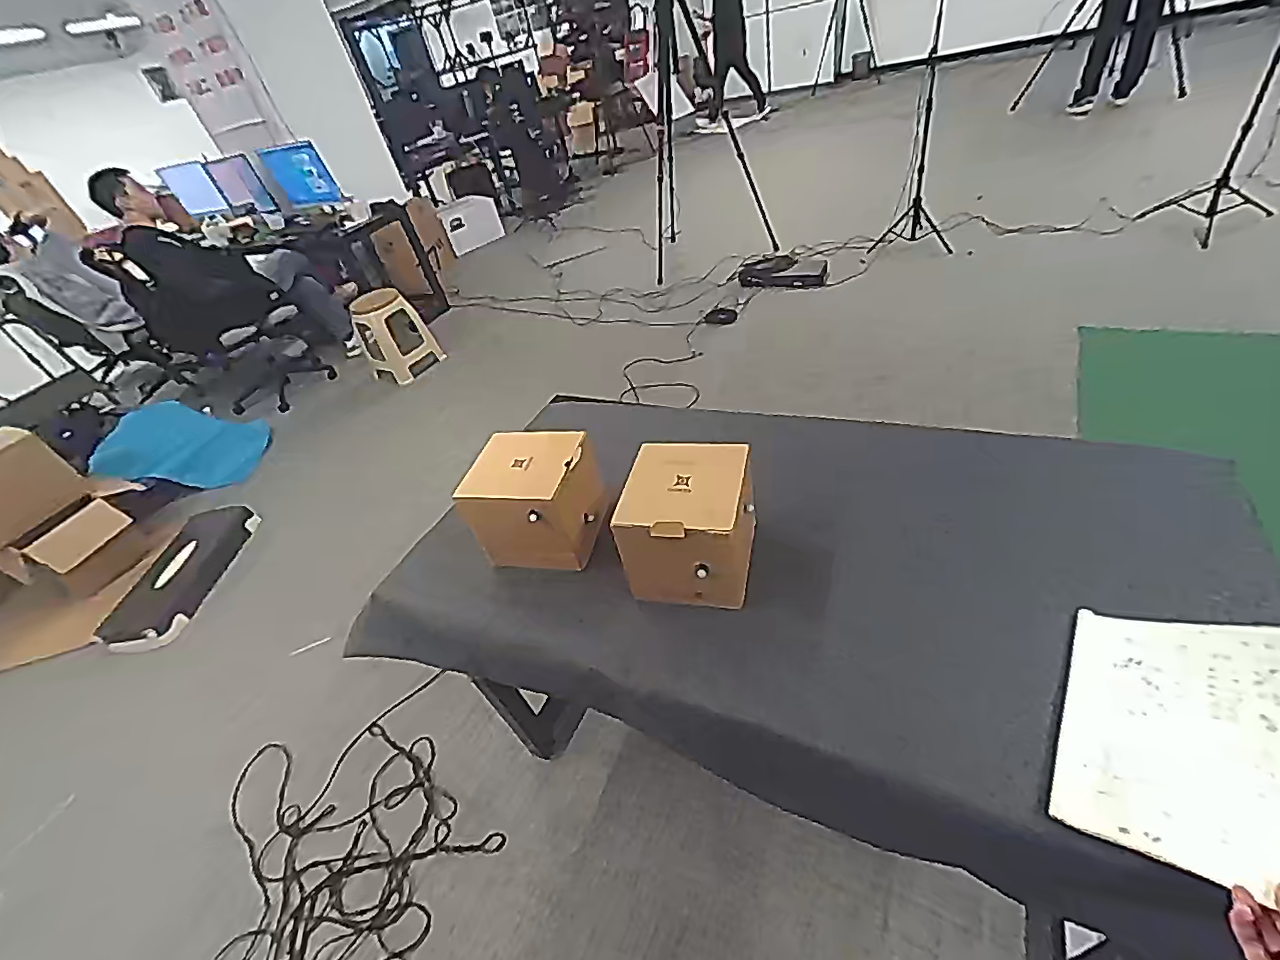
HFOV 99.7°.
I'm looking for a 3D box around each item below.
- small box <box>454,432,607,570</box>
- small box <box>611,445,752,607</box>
[{"bbox_3d":[-0.173,0.035,0.914,0.179,0.176,0.168,1,42,17],"label":"small box"},{"bbox_3d":[0.074,0.067,0.801,0.168,0.176,0.179,3,42,18],"label":"small box"}]
